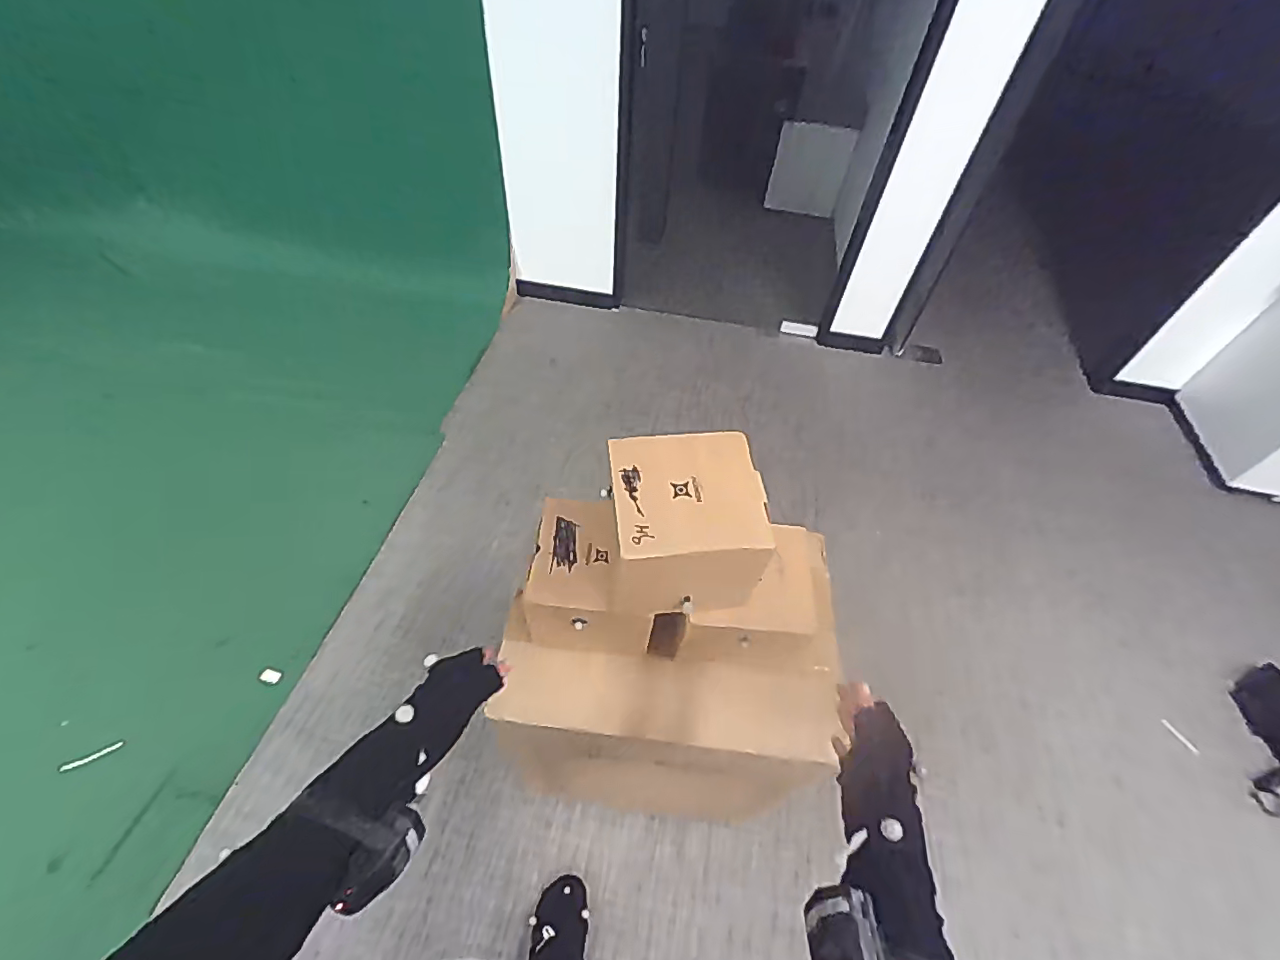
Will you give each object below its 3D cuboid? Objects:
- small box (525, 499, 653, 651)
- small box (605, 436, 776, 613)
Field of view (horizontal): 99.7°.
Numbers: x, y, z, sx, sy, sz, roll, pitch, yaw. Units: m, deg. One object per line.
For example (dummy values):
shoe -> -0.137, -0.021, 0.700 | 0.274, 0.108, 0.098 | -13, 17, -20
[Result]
small box -> -0.065, 0.149, 0.821 | 0.179, 0.176, 0.168 | 7, 55, -1
small box -> 0.050, 0.059, 0.694 | 0.179, 0.176, 0.168 | -3, 55, -8
